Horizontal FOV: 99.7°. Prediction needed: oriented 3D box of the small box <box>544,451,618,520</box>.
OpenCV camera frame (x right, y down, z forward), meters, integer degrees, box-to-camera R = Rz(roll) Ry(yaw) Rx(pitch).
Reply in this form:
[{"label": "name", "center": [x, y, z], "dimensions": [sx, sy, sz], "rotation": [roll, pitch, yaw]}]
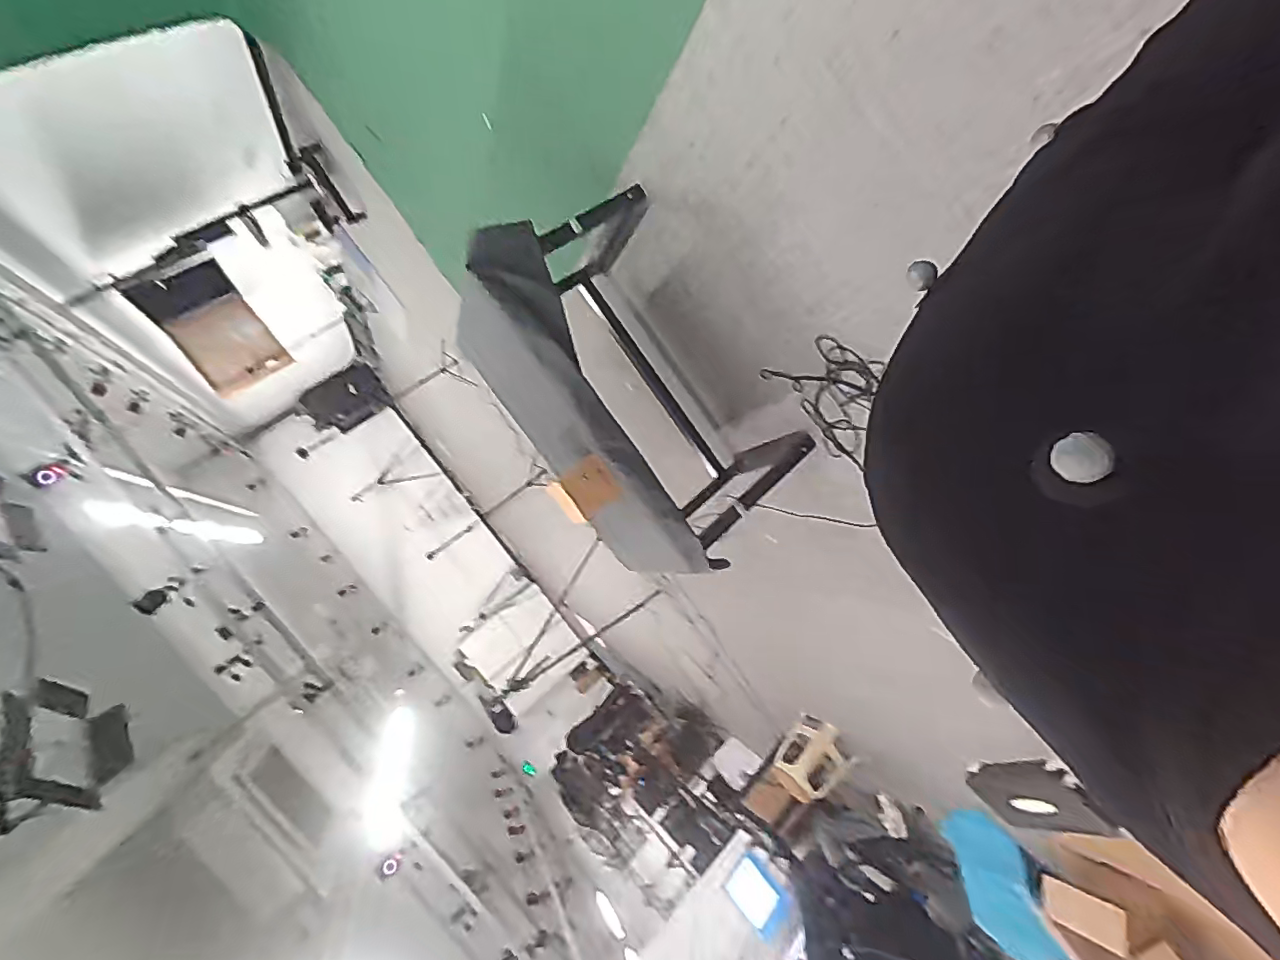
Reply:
[{"label": "small box", "center": [-0.198, 0.019, 1.842], "dimensions": [0.168, 0.176, 0.179], "rotation": [55, 159, -7]}]
